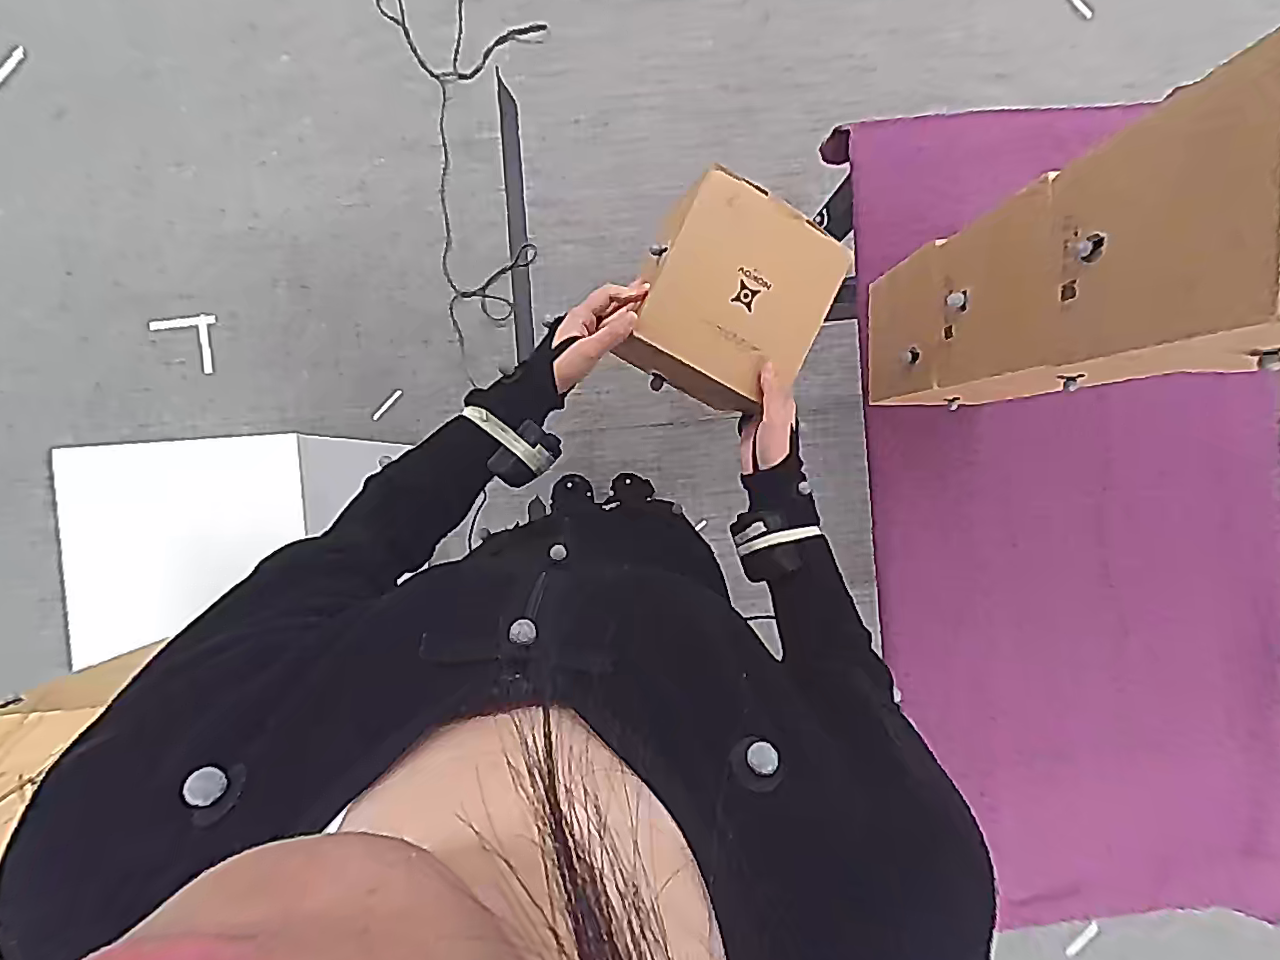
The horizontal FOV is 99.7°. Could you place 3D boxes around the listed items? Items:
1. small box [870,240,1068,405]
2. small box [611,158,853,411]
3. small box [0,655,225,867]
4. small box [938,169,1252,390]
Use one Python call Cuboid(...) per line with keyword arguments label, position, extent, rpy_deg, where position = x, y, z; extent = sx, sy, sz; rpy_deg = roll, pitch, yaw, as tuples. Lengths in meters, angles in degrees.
Cuboid(label="small box", position=(0.417, -0.192, 0.704), extent=(0.168, 0.176, 0.179), rpy_deg=(0, 91, -2))
Cuboid(label="small box", position=(0.081, -0.187, 0.577), extent=(0.168, 0.176, 0.179), rpy_deg=(24, 93, -15))
Cuboid(label="small box", position=(-0.644, 0.324, 0.655), extent=(0.179, 0.176, 0.168), rpy_deg=(-5, 91, -2))
Cuboid(label="small box", position=(0.432, -0.184, 0.540), extent=(0.179, 0.176, 0.168), rpy_deg=(-1, 92, -1))
